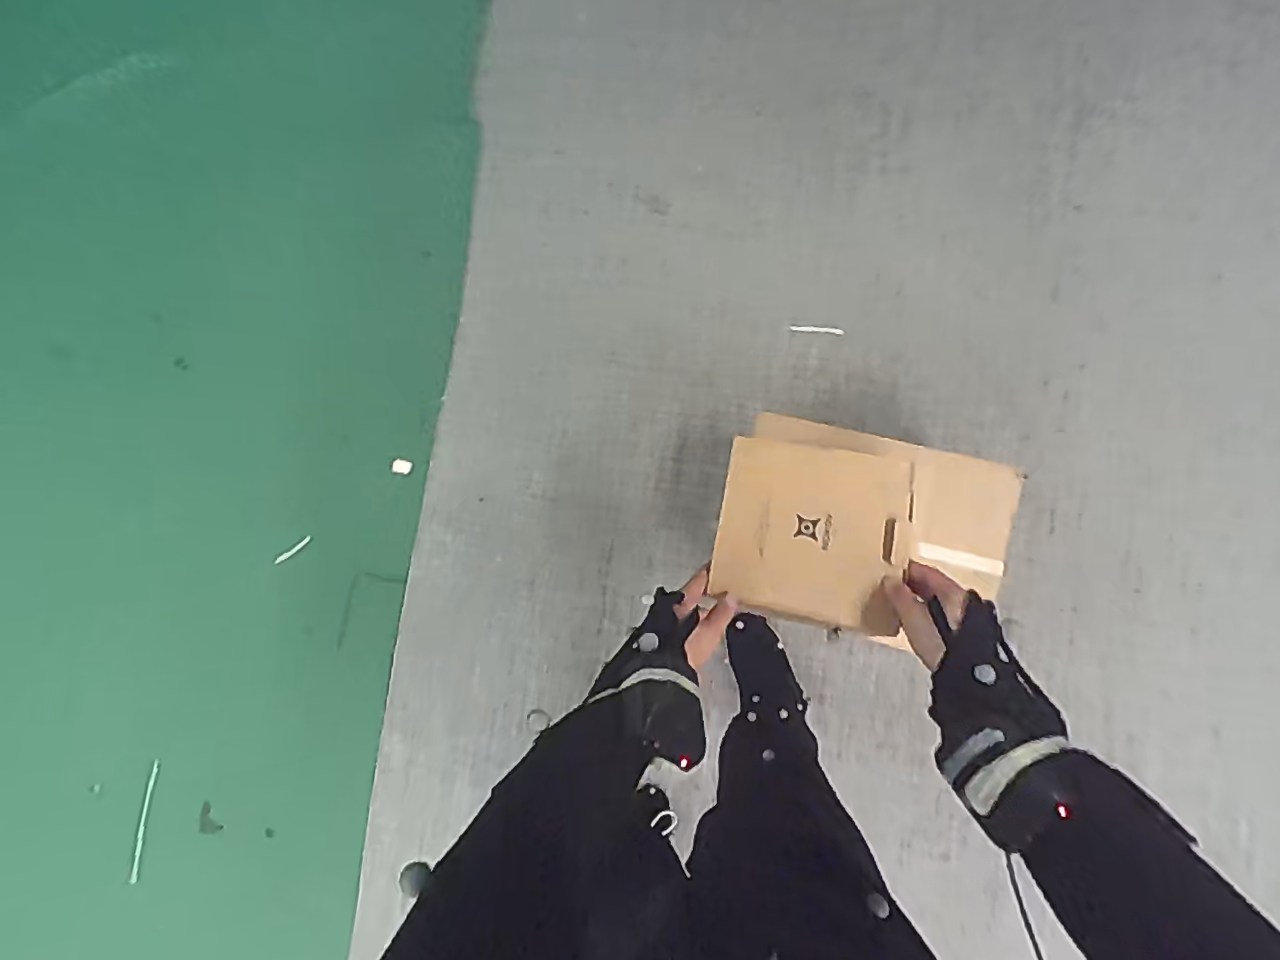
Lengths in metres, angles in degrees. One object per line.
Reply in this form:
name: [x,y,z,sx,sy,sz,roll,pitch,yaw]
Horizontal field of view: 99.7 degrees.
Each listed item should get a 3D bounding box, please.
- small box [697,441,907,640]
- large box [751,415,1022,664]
small box: [0.168,0.072,0.587,0.179,0.176,0.168,9,75,14]
large box: [0.377,0.096,0.991,0.408,0.320,0.320,14,89,12]
